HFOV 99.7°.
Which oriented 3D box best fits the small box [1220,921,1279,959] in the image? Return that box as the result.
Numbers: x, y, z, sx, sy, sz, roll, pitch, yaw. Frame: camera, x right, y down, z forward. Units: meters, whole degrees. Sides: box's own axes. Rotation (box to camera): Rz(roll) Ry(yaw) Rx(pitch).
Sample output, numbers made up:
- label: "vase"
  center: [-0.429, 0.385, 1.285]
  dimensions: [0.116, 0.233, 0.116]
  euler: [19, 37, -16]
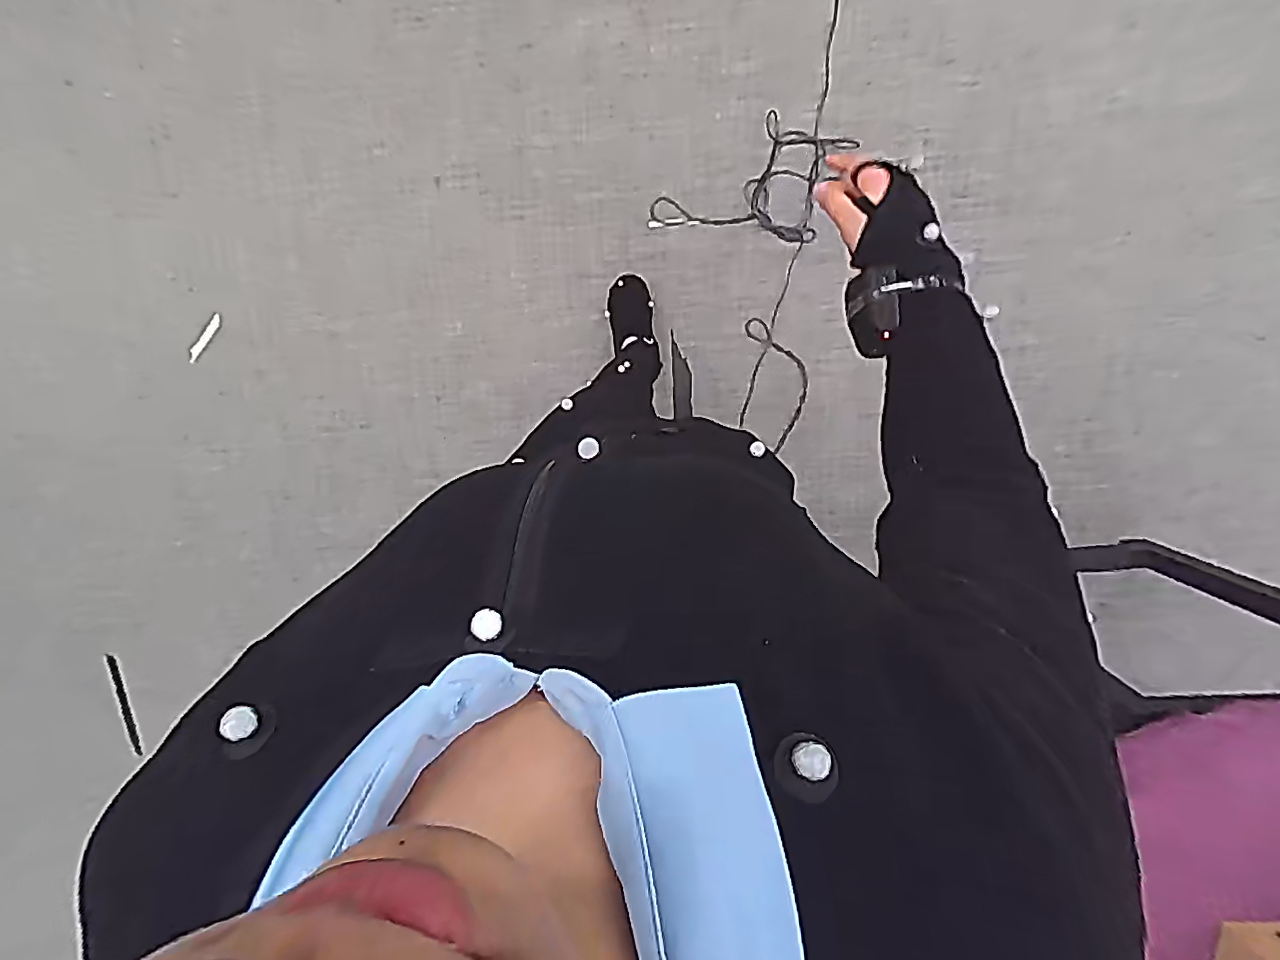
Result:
- label: "small box"
  center: [0.945, 0.753, 0.733]
  dimensions: [0.168, 0.176, 0.179]
  euler: [-2, 101, 4]
